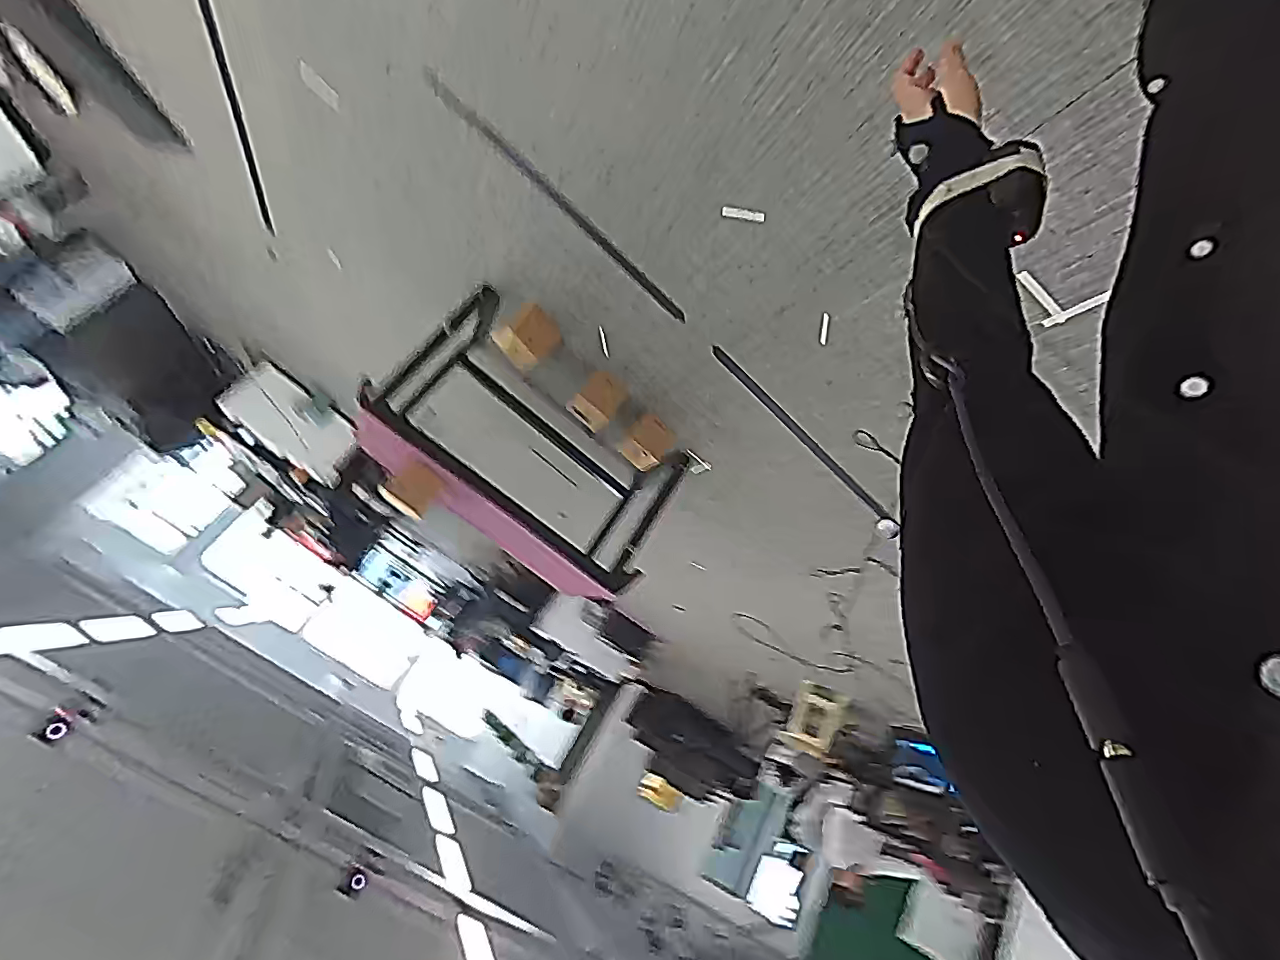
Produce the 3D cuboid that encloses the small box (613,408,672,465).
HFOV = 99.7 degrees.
[{"bbox_3d":[0.013,-0.193,2.415,0.168,0.176,0.179,41,155,-15],"label":"small box"}]

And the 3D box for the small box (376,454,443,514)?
[{"bbox_3d":[-0.919,0.011,2.157,0.179,0.176,0.168,40,156,-16],"label":"small box"}]

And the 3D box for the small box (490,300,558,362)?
[{"bbox_3d":[-0.474,-0.619,2.229,0.168,0.176,0.179,0,140,50],"label":"small box"}]
